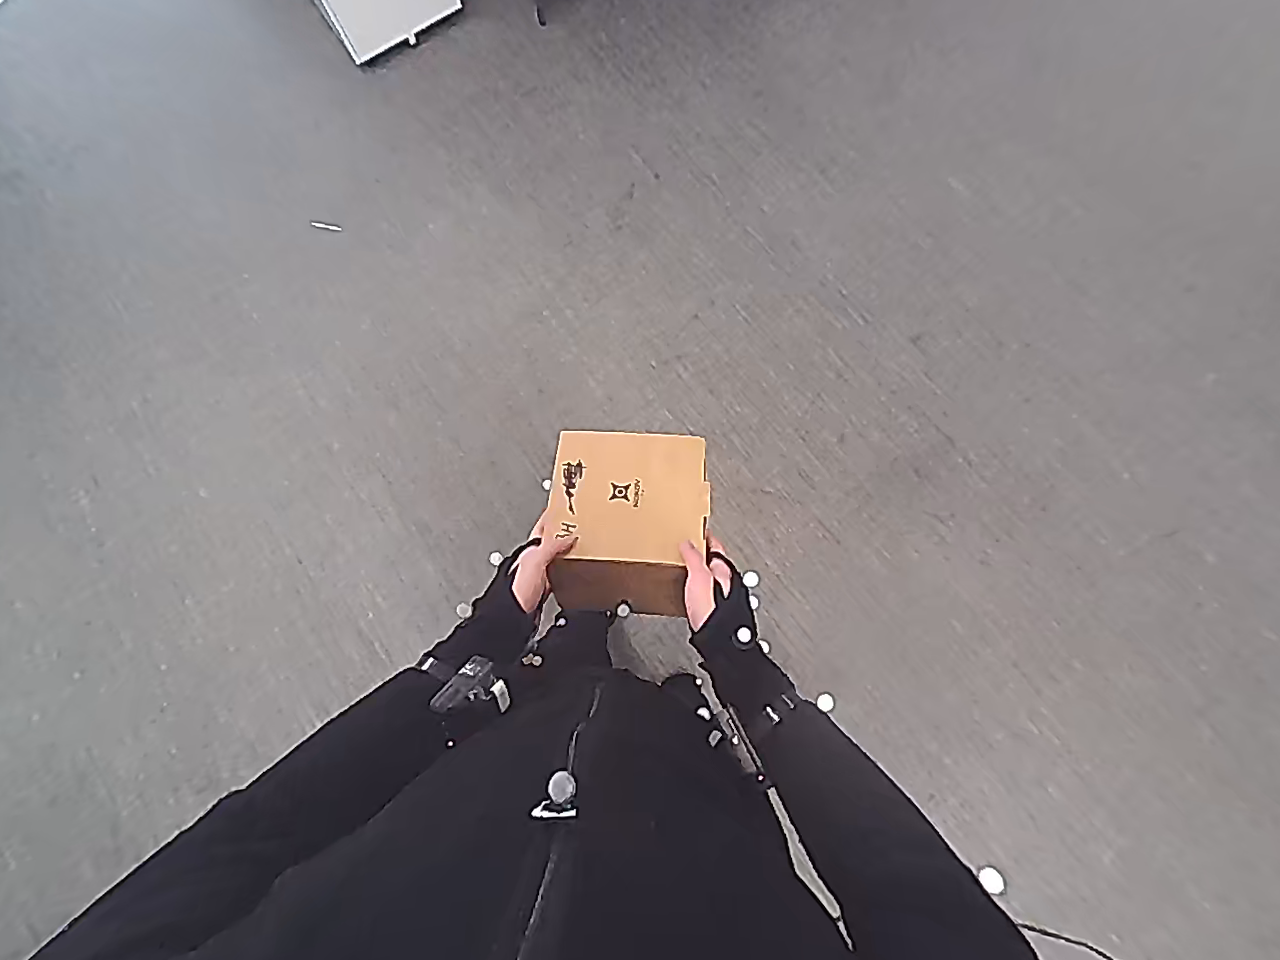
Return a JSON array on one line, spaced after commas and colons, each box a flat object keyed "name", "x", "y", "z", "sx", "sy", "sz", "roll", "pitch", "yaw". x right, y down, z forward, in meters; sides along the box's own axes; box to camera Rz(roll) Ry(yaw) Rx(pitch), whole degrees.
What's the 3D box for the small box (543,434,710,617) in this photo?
[{"name": "small box", "x": -0.012, "y": 0.063, "z": 0.671, "sx": 0.179, "sy": 0.176, "sz": 0.168, "roll": 4, "pitch": 57, "yaw": 1}]
